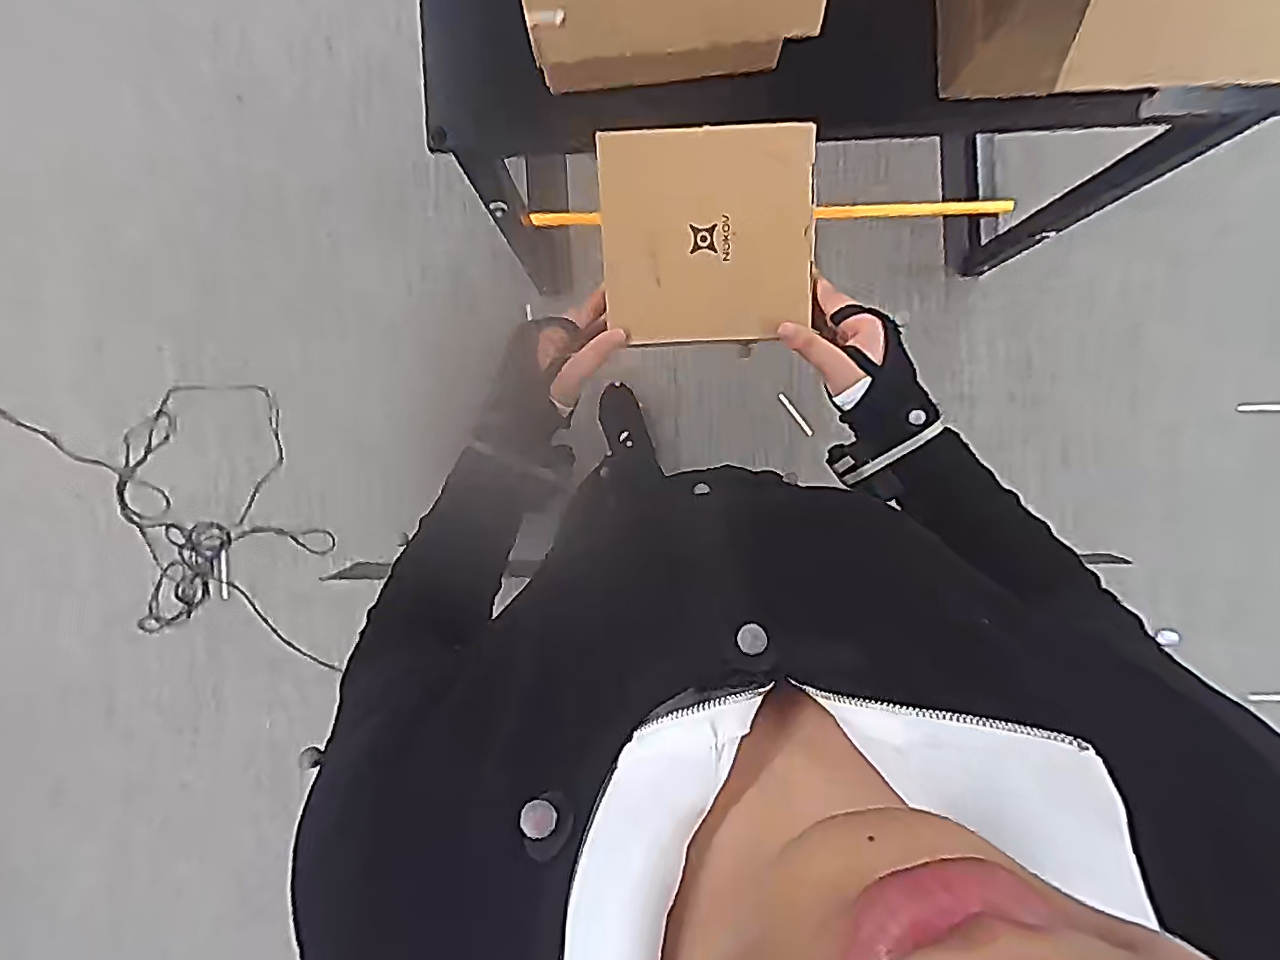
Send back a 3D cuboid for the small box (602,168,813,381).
[{"bbox_3d":[0.058,-0.188,0.534,0.179,0.176,0.168,-3,102,1],"label":"small box"}]
